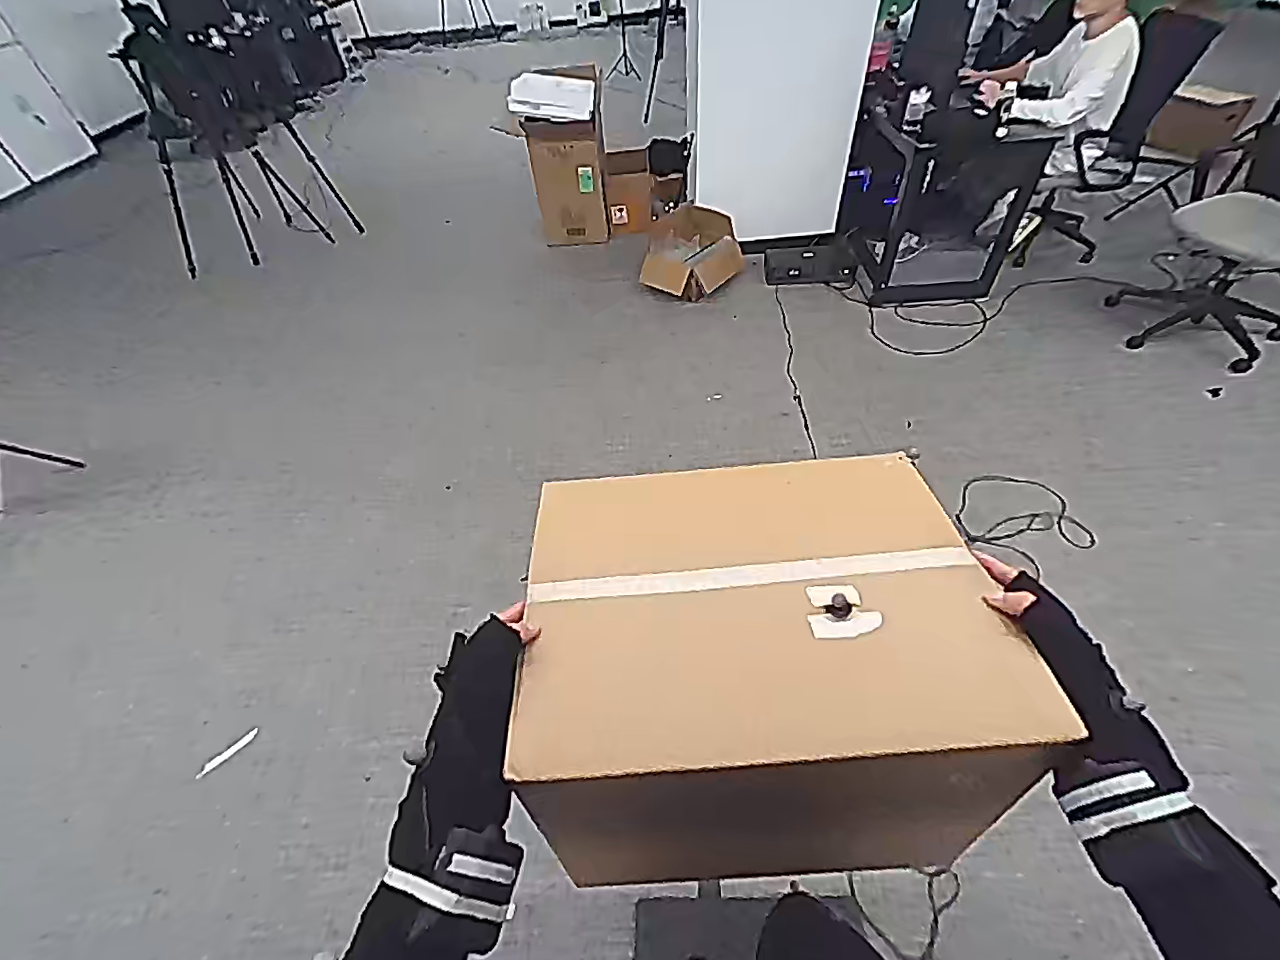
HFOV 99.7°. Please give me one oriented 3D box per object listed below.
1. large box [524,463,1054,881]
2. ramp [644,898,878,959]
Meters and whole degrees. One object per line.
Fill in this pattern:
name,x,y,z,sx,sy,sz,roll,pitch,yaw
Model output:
large box,0.112,0.210,0.605,0.408,0.320,0.320,-5,41,1
ramp,0.248,1.250,0.819,0.509,0.206,0.991,-6,47,3
